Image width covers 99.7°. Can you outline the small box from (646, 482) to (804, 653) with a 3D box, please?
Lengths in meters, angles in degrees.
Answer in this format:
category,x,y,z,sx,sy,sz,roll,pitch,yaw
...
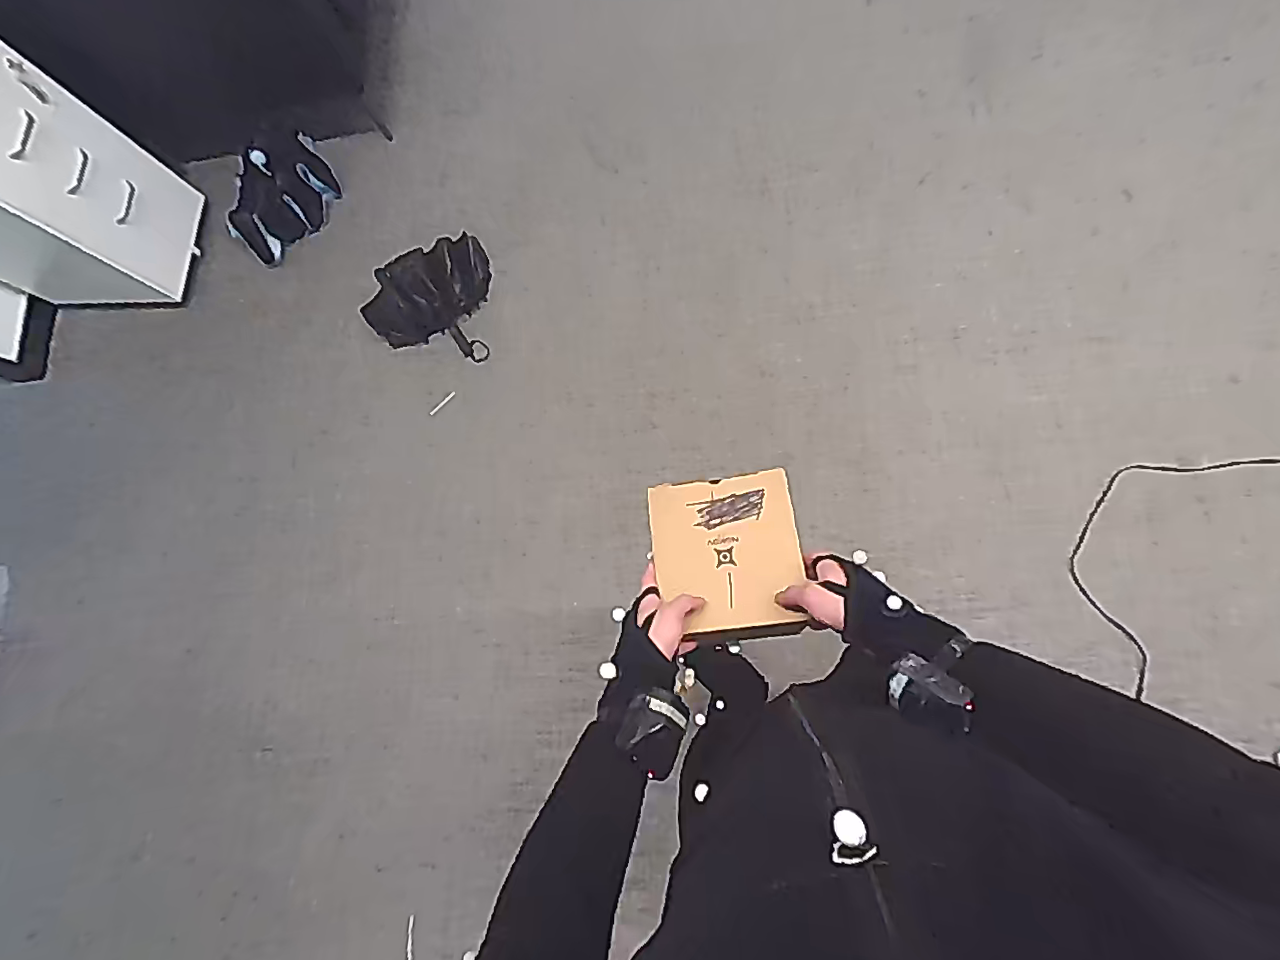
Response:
category,x,y,z,sx,sy,sz,roll,pitch,yaw
small box,0.105,0.120,0.693,0.168,0.176,0.179,-8,68,9
